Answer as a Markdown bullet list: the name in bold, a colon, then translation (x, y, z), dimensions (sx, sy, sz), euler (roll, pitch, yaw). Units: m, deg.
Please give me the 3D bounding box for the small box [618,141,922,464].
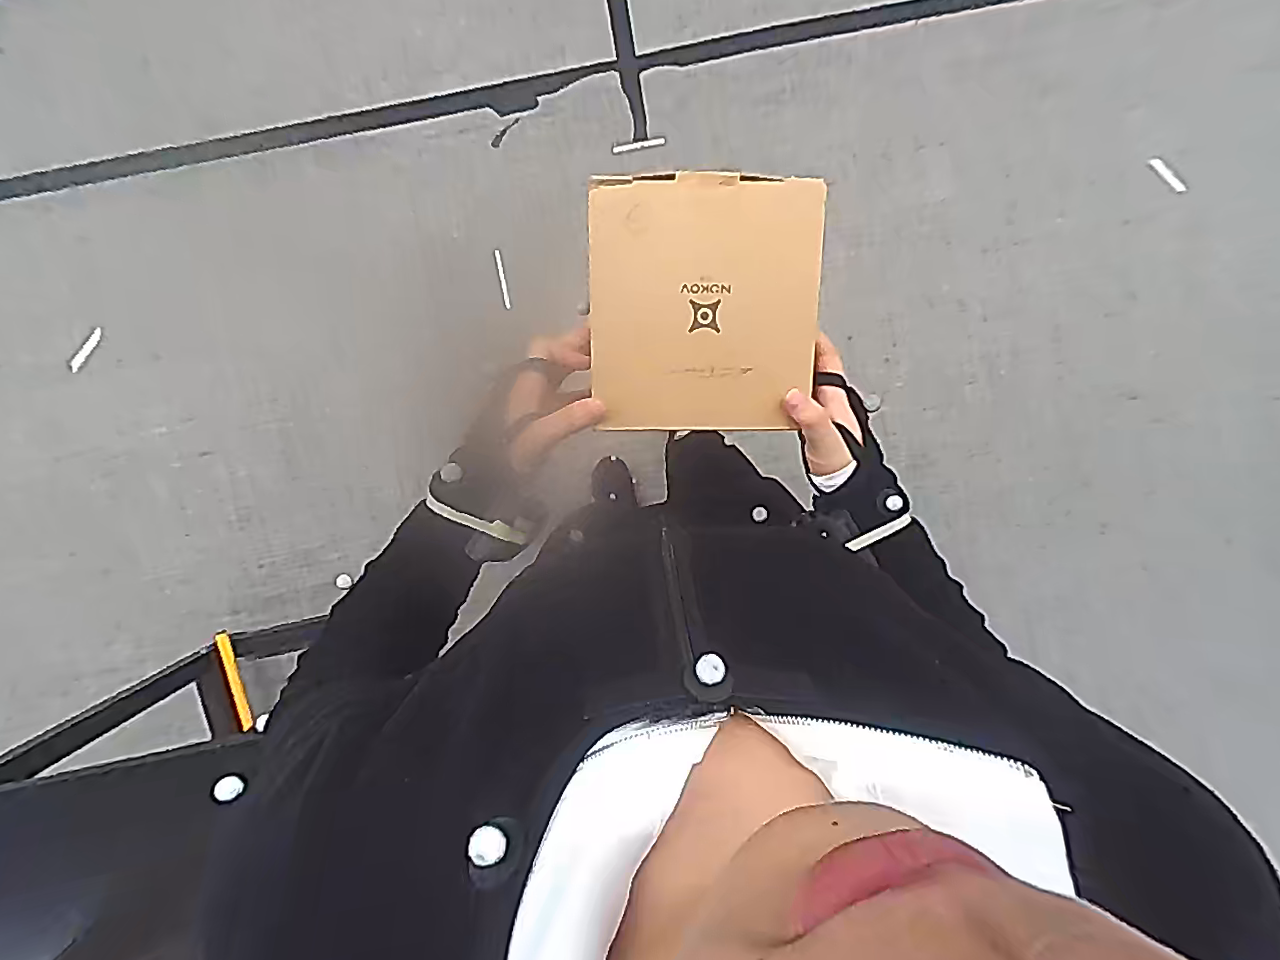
- **small box**: translation (0.068, -0.114, 0.385), dimensions (0.168, 0.176, 0.179), euler (-1, 105, -2)
